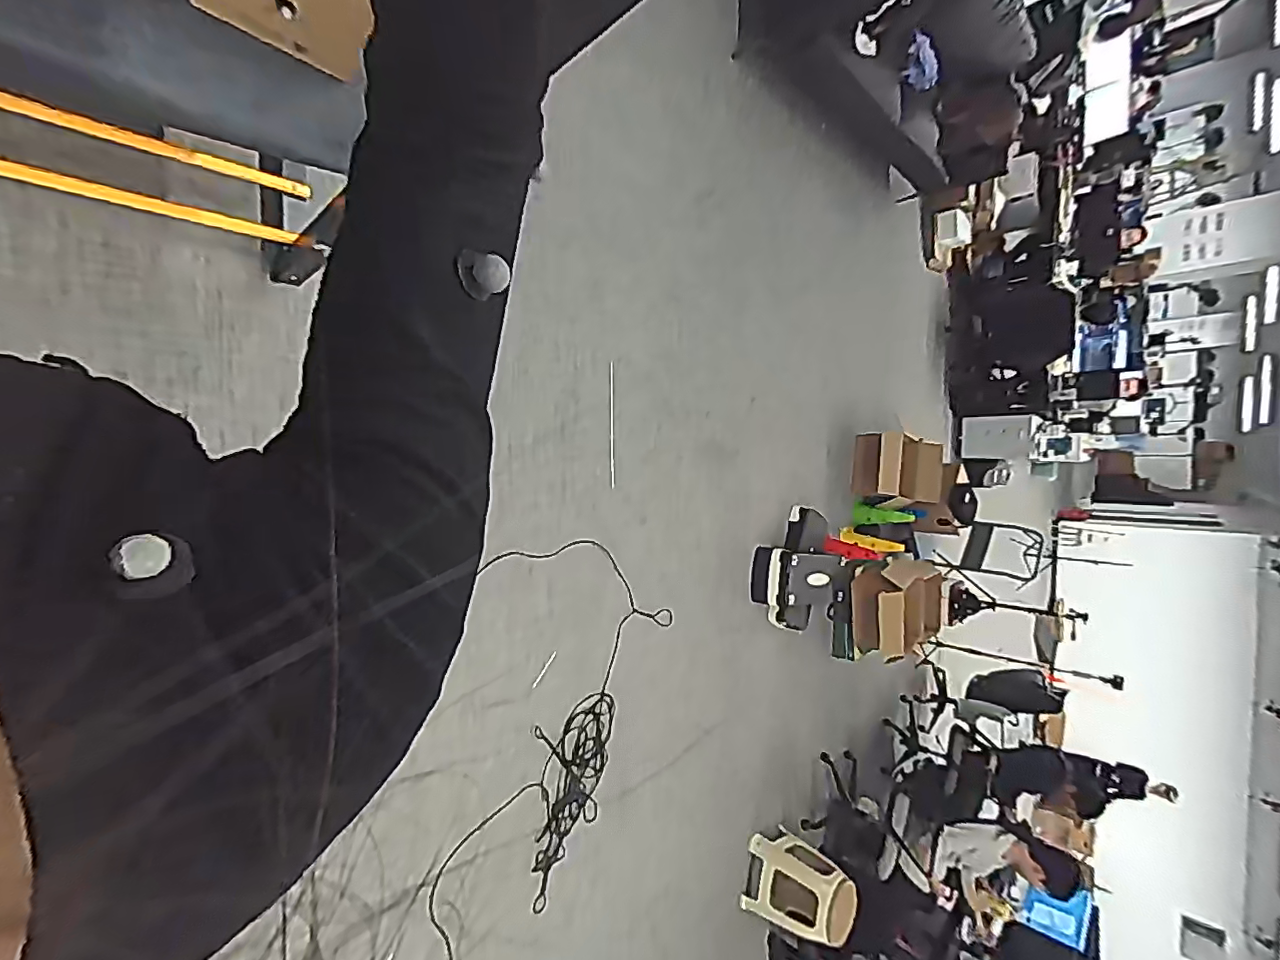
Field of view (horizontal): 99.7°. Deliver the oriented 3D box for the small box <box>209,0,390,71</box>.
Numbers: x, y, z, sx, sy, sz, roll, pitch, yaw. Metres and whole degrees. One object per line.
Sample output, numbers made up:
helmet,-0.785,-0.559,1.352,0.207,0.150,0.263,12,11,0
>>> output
small box,-0.387,-0.613,0.599,0.168,0.176,0.179,2,89,-46
